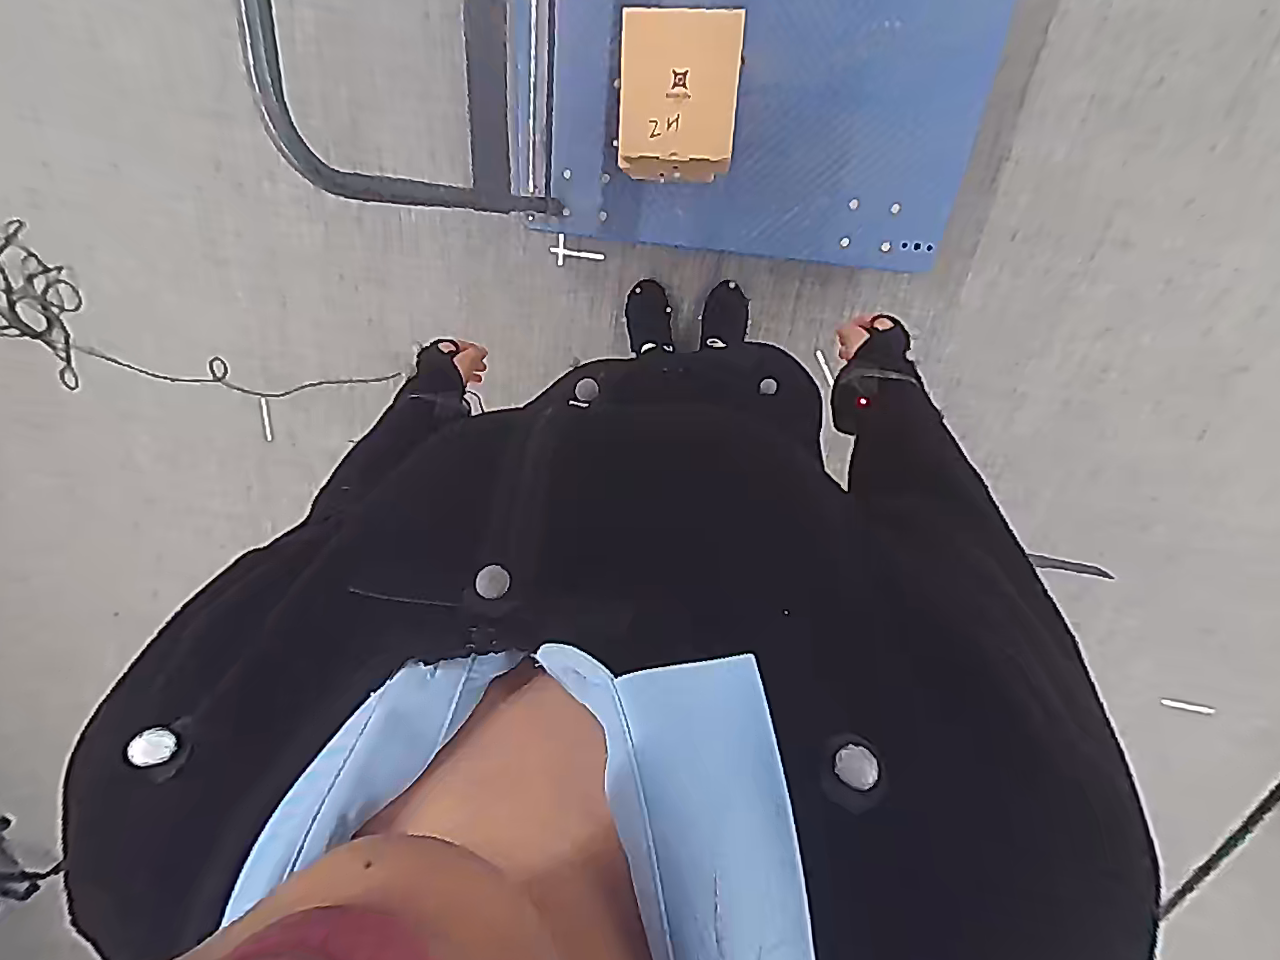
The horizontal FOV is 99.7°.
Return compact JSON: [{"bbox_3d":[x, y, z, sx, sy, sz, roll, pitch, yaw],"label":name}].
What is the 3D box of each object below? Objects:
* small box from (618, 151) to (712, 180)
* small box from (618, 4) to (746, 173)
[{"bbox_3d":[0.056,-0.650,0.972,0.168,0.176,0.179,5,115,5],"label":"small box"},{"bbox_3d":[0.062,-0.580,0.821,0.168,0.176,0.179,6,115,5],"label":"small box"}]
